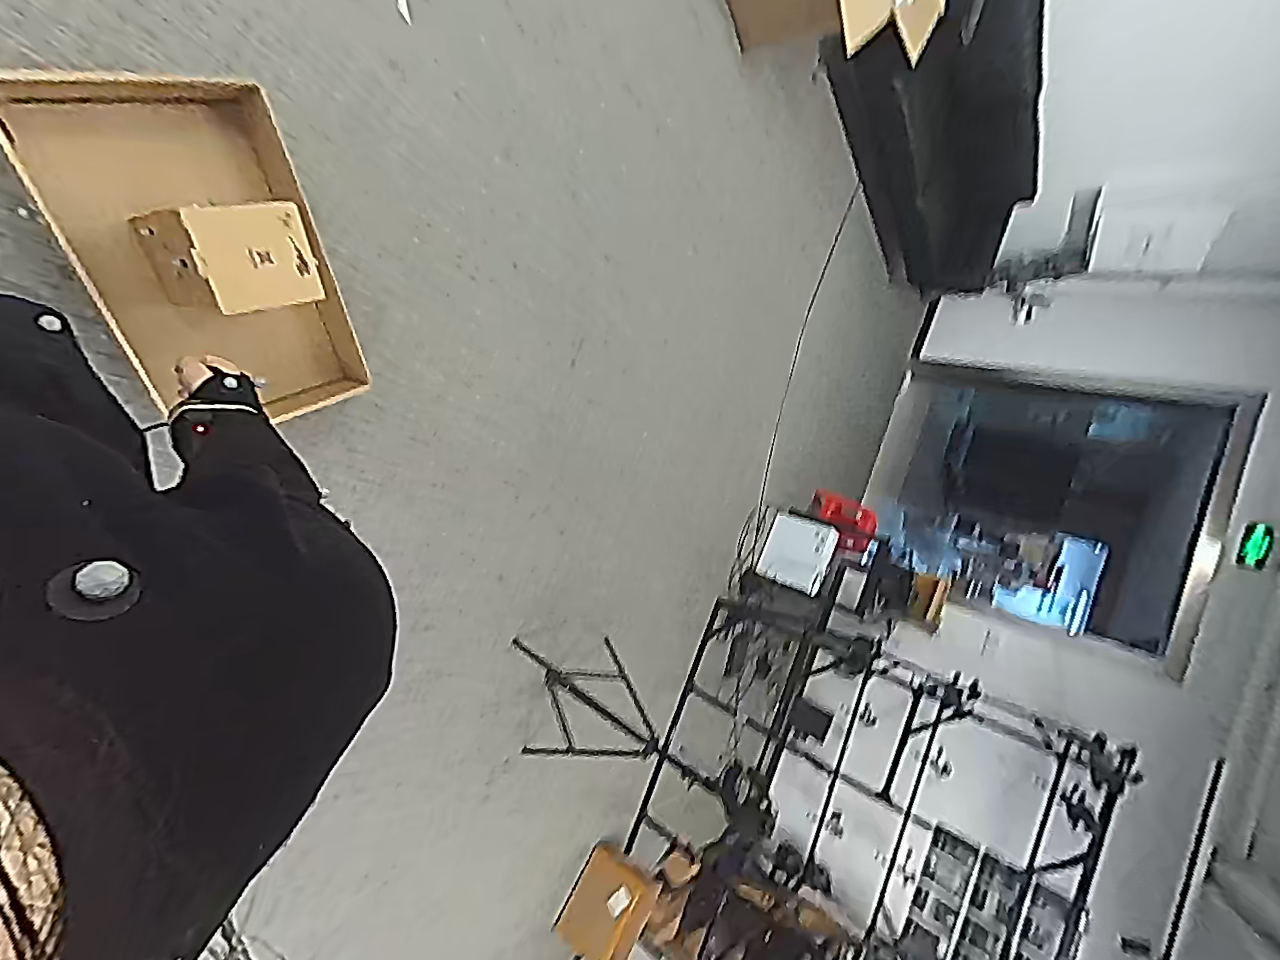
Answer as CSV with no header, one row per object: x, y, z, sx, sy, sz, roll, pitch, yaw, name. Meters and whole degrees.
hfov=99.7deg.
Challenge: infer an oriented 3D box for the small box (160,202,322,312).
-0.719,-0.402,0.973,0.179,0.176,0.168,-31,128,-42,small box
